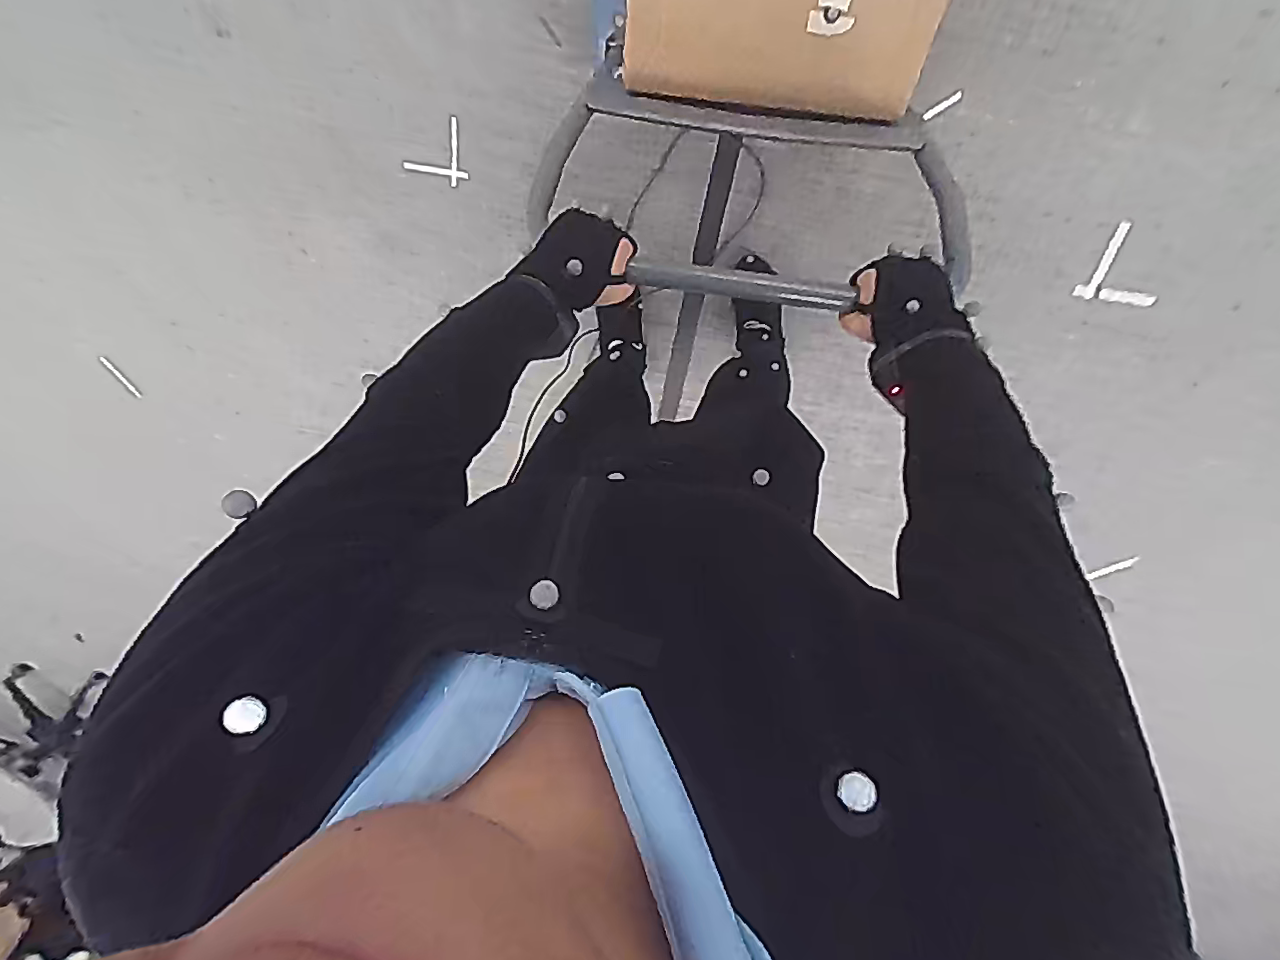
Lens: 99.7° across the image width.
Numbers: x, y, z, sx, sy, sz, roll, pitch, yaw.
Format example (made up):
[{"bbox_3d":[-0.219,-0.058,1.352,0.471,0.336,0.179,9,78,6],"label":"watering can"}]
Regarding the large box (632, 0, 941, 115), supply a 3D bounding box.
[{"bbox_3d":[0.206,-0.761,0.783,0.408,0.320,0.320,7,137,2],"label":"large box"}]
